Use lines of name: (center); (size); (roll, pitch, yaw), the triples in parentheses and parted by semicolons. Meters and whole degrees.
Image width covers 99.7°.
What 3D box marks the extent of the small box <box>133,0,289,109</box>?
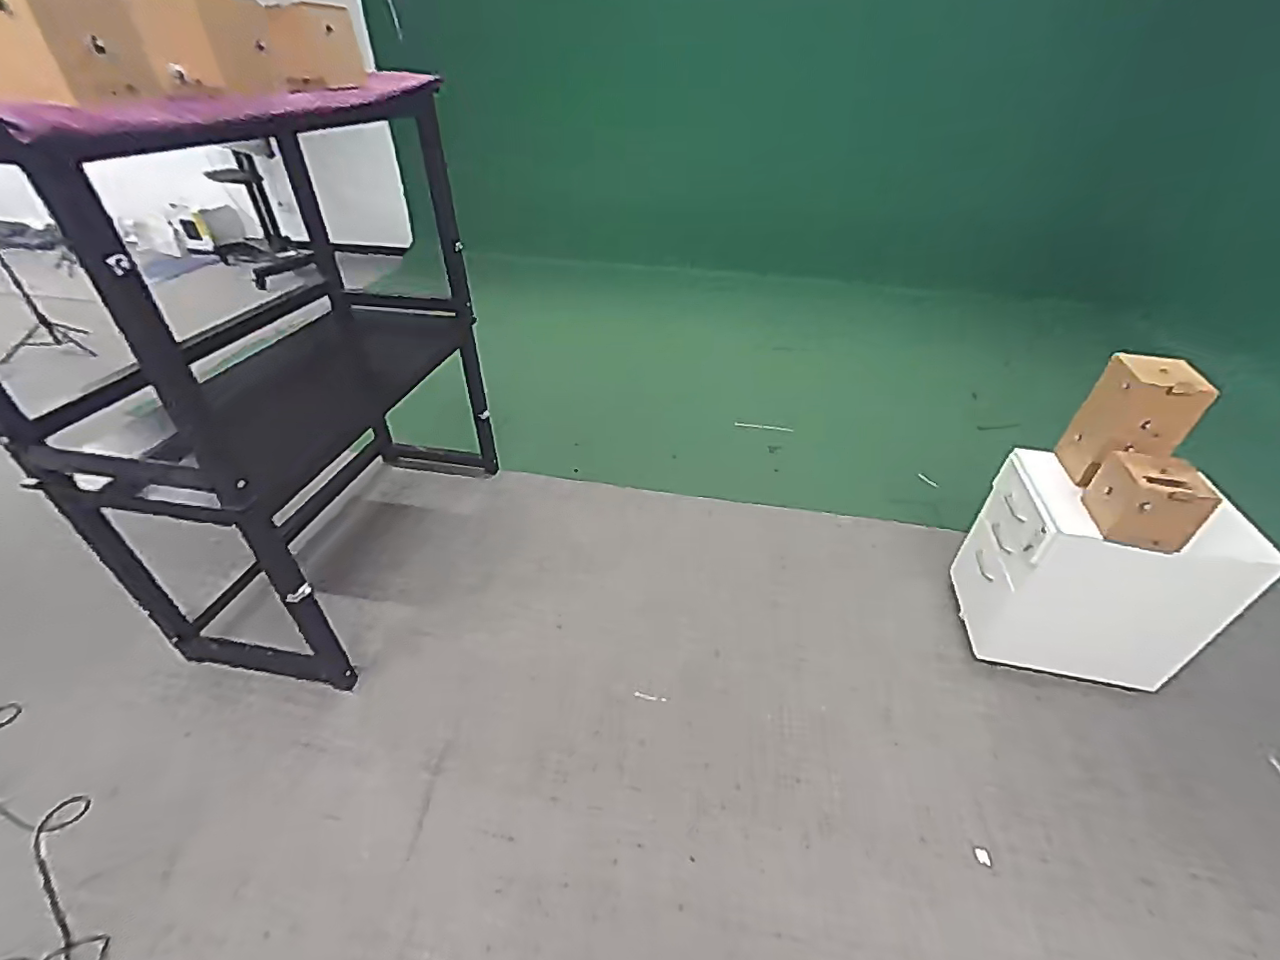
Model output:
small box: (-0.878, -0.888, 1.133); (0.168, 0.176, 0.179); (6, 38, 7)

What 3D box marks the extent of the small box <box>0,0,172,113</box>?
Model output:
small box: (-0.929, -0.701, 0.877); (0.179, 0.176, 0.168); (7, 36, 7)

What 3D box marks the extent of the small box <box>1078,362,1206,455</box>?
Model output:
small box: (1.335, -0.194, 1.458); (0.168, 0.176, 0.179); (10, 40, 10)

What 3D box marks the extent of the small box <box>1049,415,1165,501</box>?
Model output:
small box: (1.329, -0.065, 1.557); (0.168, 0.176, 0.179); (8, 38, 9)

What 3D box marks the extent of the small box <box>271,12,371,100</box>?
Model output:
small box: (-0.837, -1.099, 1.409); (0.168, 0.176, 0.179); (7, 37, 10)
